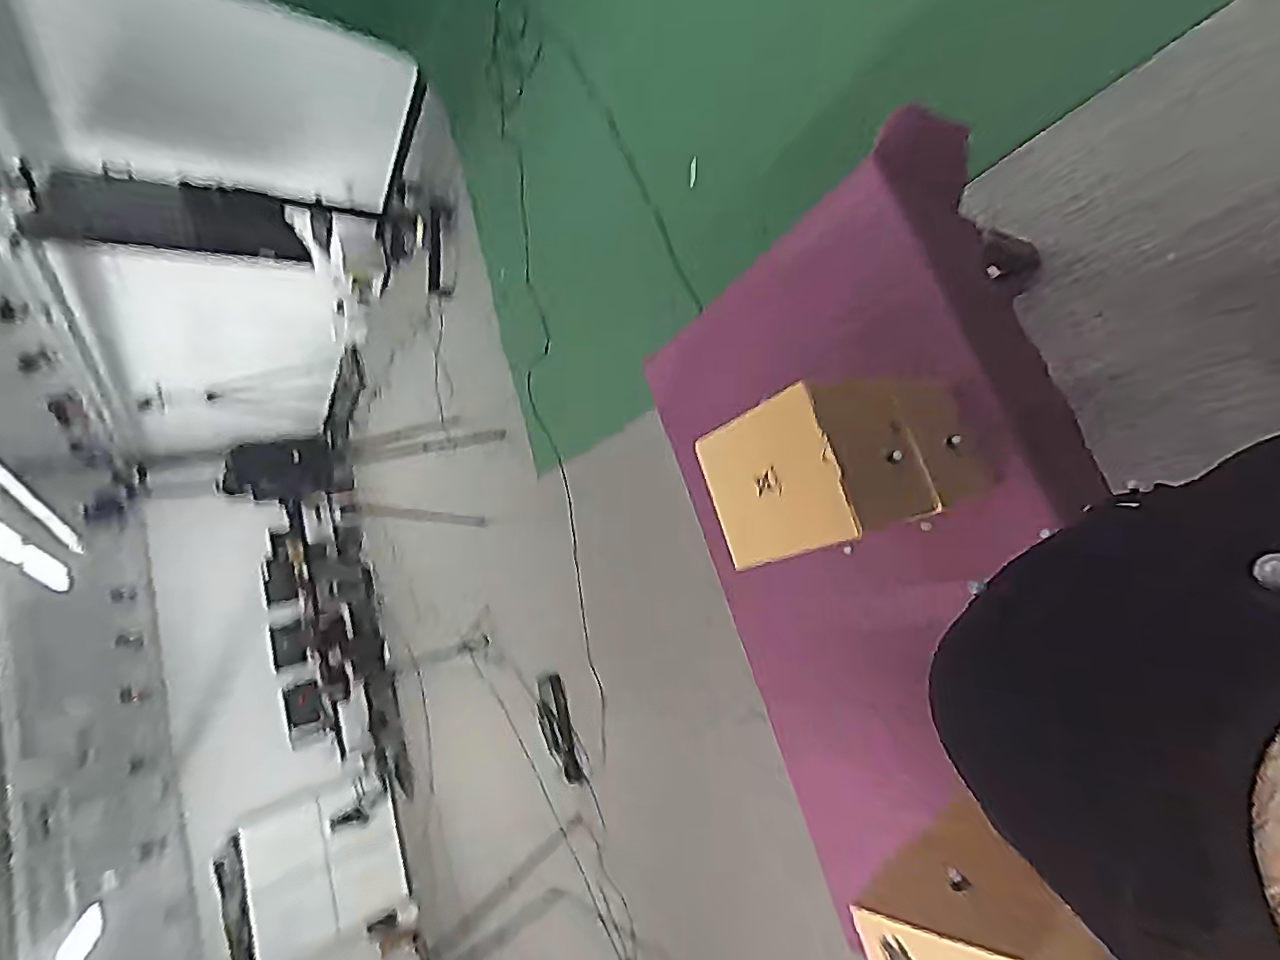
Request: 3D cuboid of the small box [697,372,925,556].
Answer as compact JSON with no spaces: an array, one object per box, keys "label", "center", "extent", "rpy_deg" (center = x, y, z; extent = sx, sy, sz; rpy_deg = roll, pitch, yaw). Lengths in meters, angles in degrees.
[{"label":"small box","center":[0.204,-0.017,0.657],"extent":[0.179,0.176,0.168],"rpy_deg":[-29,74,49]}]
